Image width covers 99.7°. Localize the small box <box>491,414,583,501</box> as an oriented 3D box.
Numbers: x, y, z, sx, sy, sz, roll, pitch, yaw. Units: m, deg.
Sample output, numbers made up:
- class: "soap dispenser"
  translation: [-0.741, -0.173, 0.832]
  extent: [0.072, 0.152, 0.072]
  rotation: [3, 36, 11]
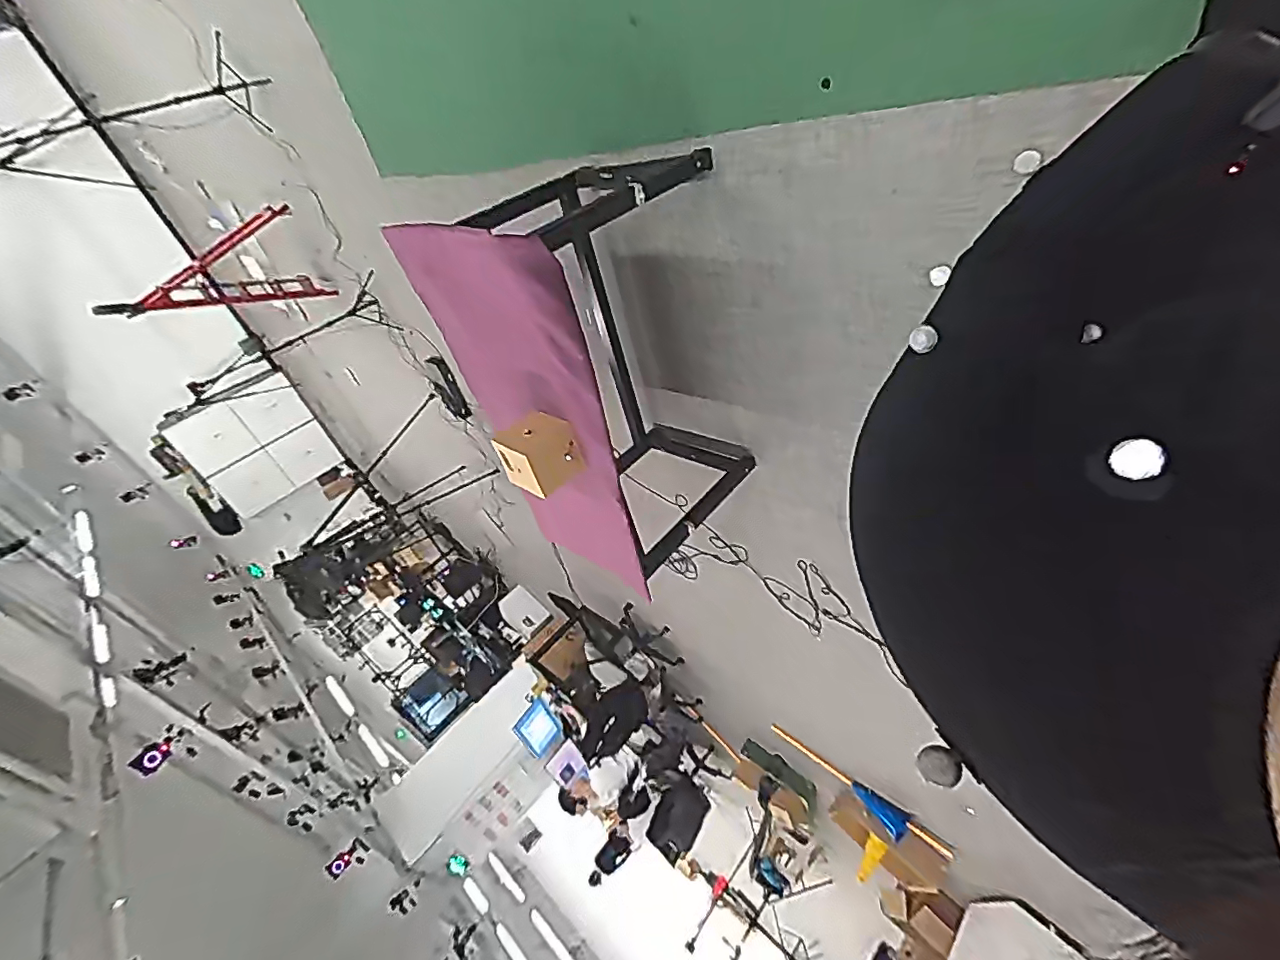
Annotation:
- class: "small box"
  translation: [-0.293, -0.072, 1.565]
  extent: [0.179, 0.176, 0.168]
  rotation: [23, 142, 39]
